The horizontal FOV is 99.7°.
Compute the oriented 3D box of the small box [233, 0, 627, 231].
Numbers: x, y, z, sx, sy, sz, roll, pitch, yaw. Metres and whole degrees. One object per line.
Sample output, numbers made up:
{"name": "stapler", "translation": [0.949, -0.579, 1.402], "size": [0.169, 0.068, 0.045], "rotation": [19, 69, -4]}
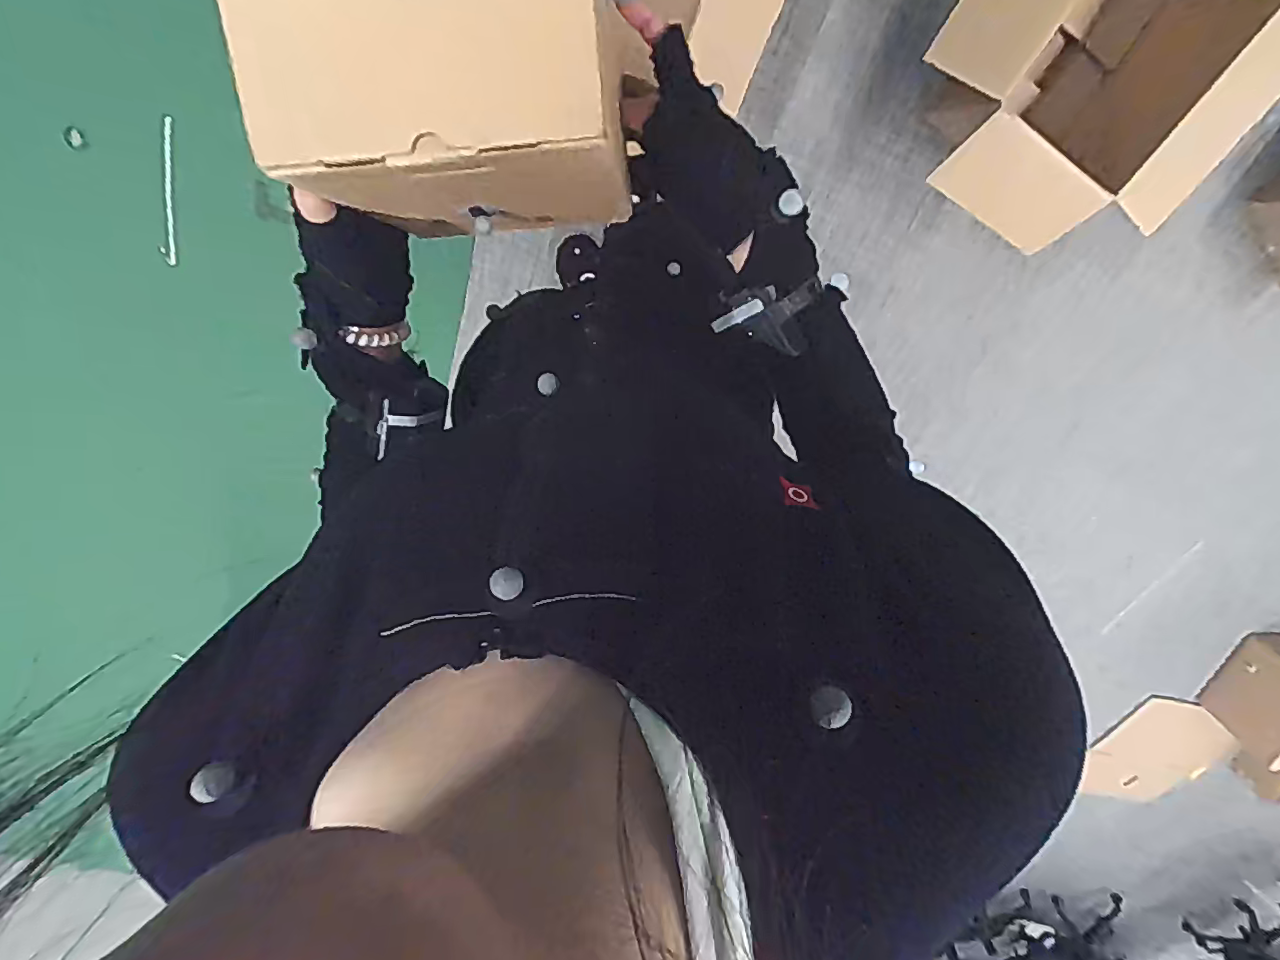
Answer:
{"name": "small box", "translation": [-0.098, -0.257, 0.311], "size": [0.168, 0.176, 0.179], "rotation": [-4, 106, 4]}
